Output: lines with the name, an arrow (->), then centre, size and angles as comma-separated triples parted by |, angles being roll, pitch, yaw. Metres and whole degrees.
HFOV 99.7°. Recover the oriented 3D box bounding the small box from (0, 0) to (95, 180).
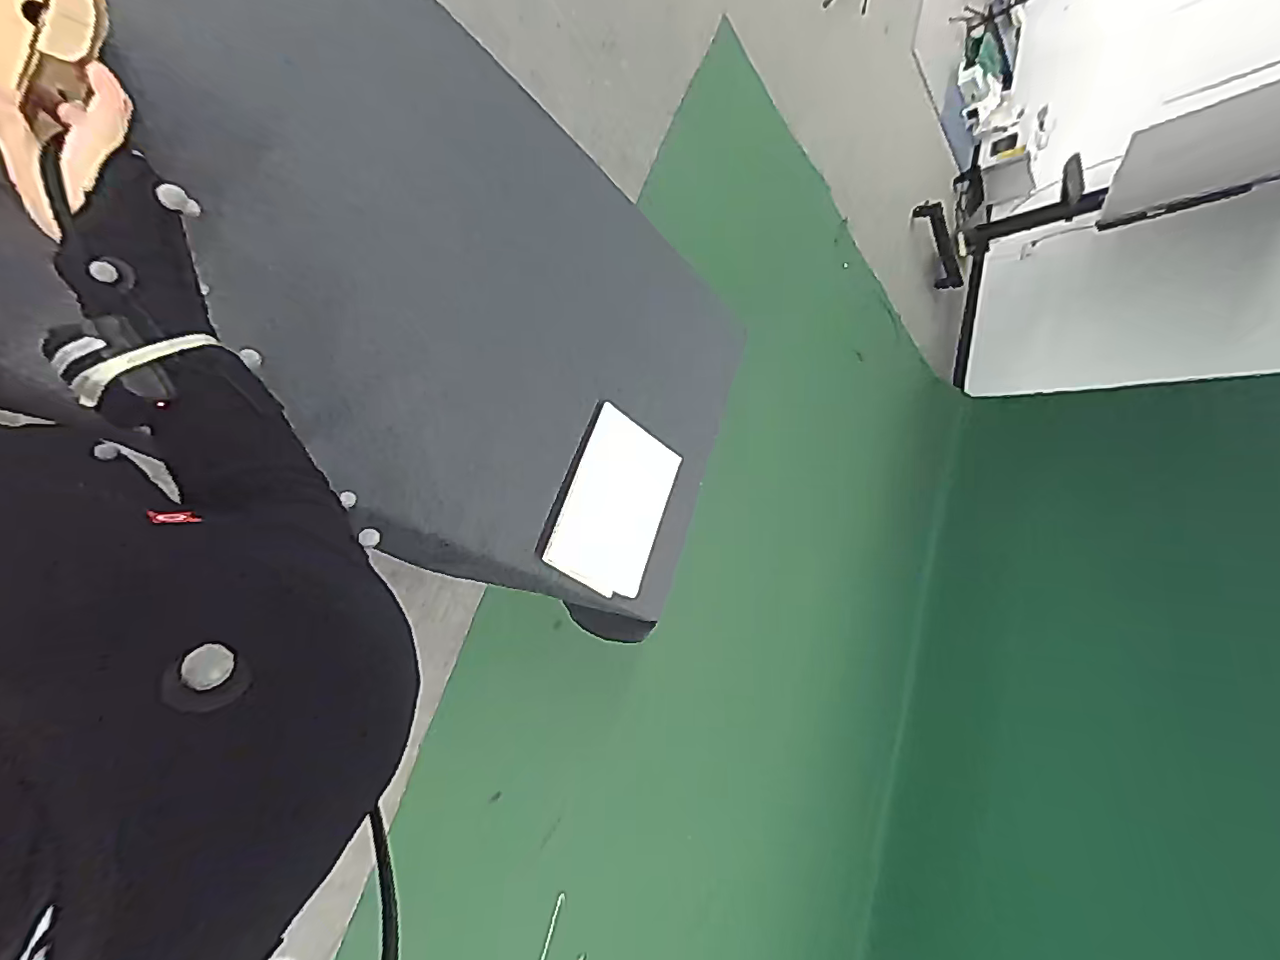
small box -> -0.479, -0.319, 0.330 | 0.179, 0.176, 0.168 | 17, 87, -44
